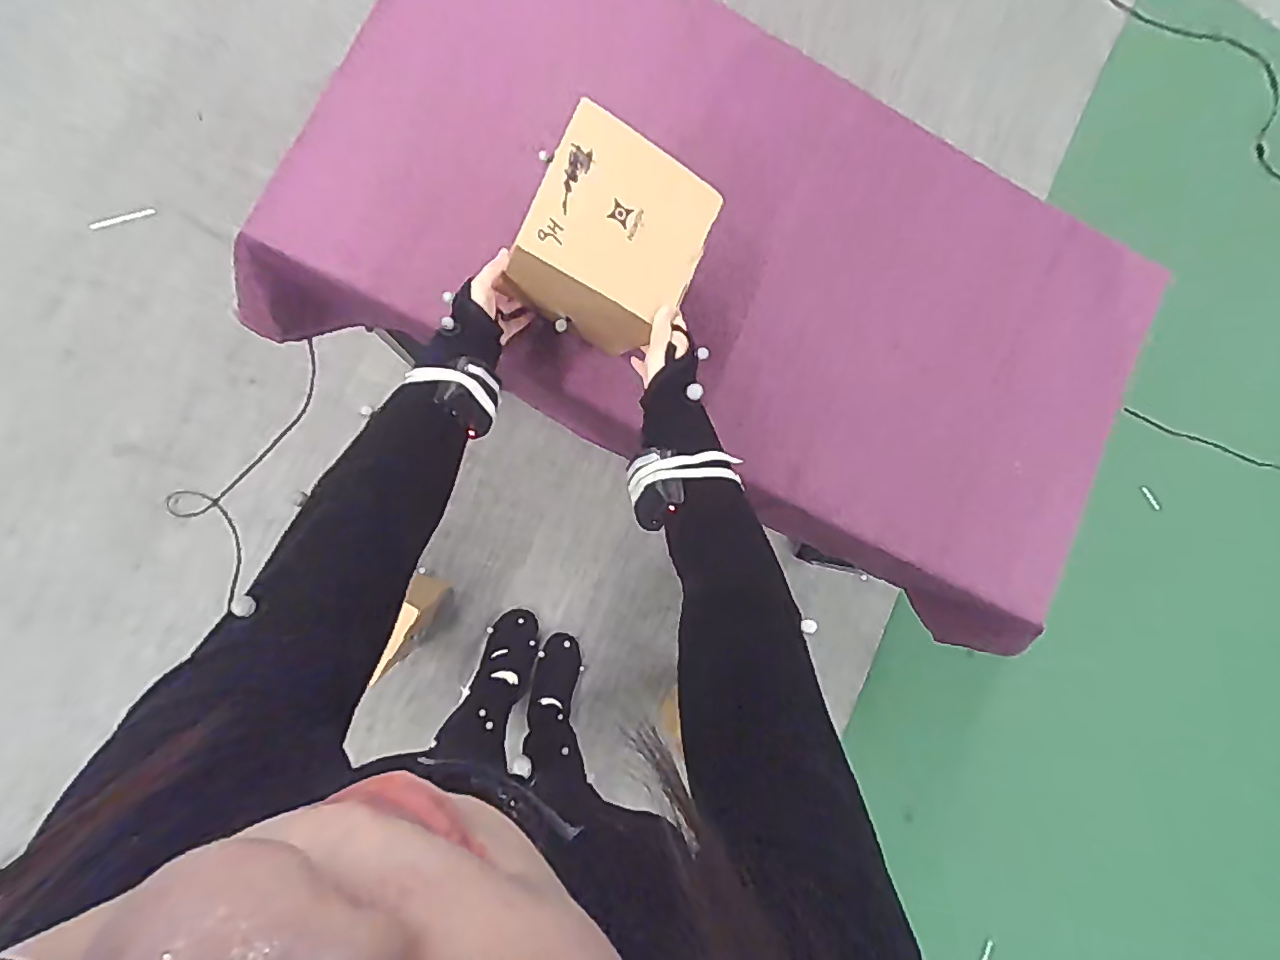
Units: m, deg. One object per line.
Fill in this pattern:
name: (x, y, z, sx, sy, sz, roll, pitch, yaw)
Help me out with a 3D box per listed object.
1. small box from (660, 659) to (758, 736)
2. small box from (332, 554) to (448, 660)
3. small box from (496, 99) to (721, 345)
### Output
small box: (0.170, 0.579, 1.383, 0.179, 0.176, 0.168, 30, 83, -8)
small box: (-0.575, 0.289, 1.271, 0.168, 0.176, 0.179, 29, 83, -8)
small box: (-0.045, -0.270, 0.621, 0.179, 0.176, 0.168, 25, 84, -23)
